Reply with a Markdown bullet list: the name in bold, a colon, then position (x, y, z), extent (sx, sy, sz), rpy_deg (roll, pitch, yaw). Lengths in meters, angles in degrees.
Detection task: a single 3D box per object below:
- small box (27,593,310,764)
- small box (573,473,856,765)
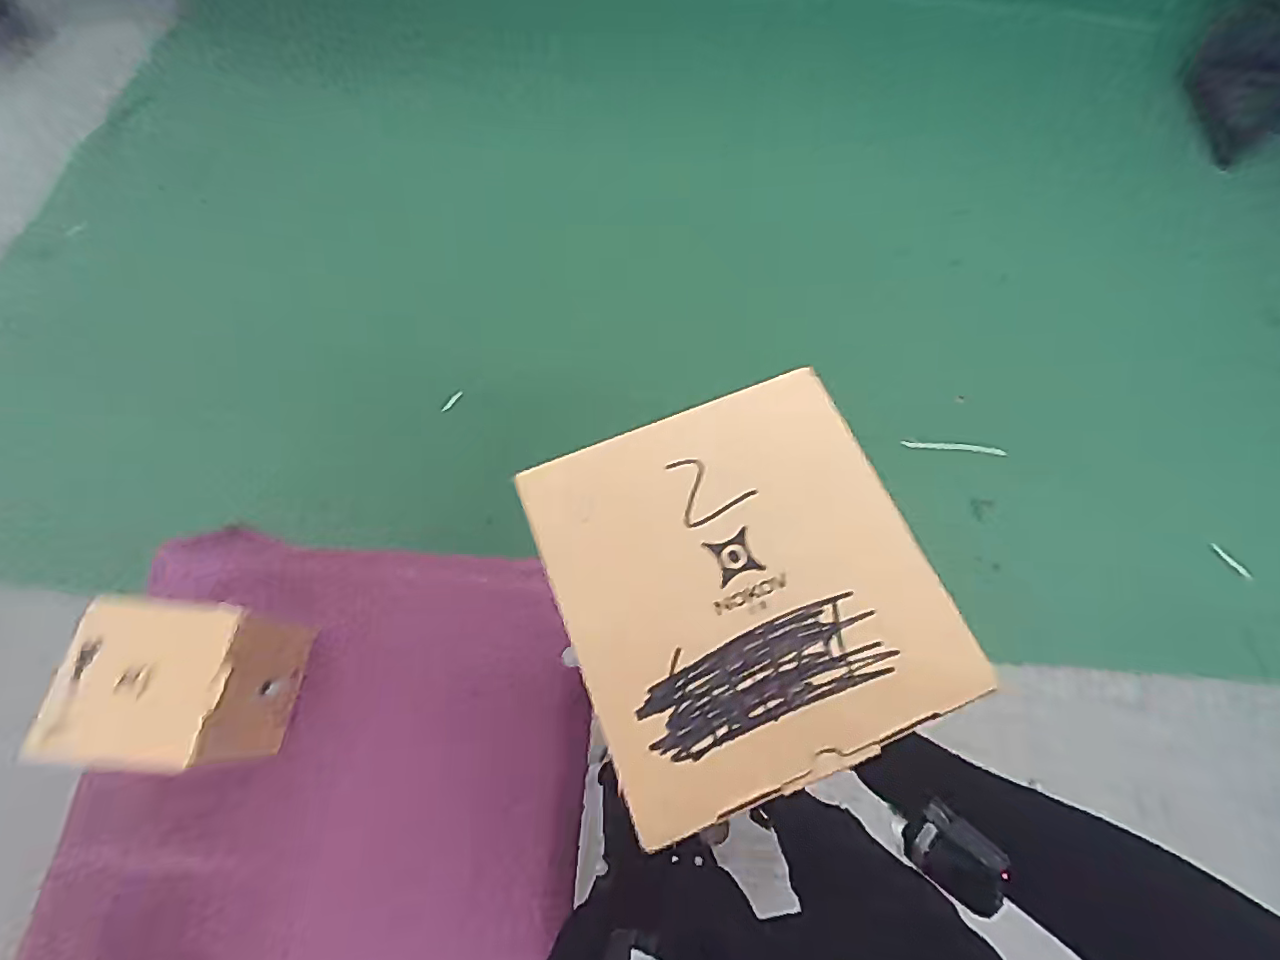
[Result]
- **small box**: position (-0.550, 0.243, 0.667), extent (0.179, 0.176, 0.168), rpy_deg (6, 68, -1)
- **small box**: position (0.050, 0.123, 0.482), extent (0.168, 0.176, 0.179), rpy_deg (-21, 71, -7)
